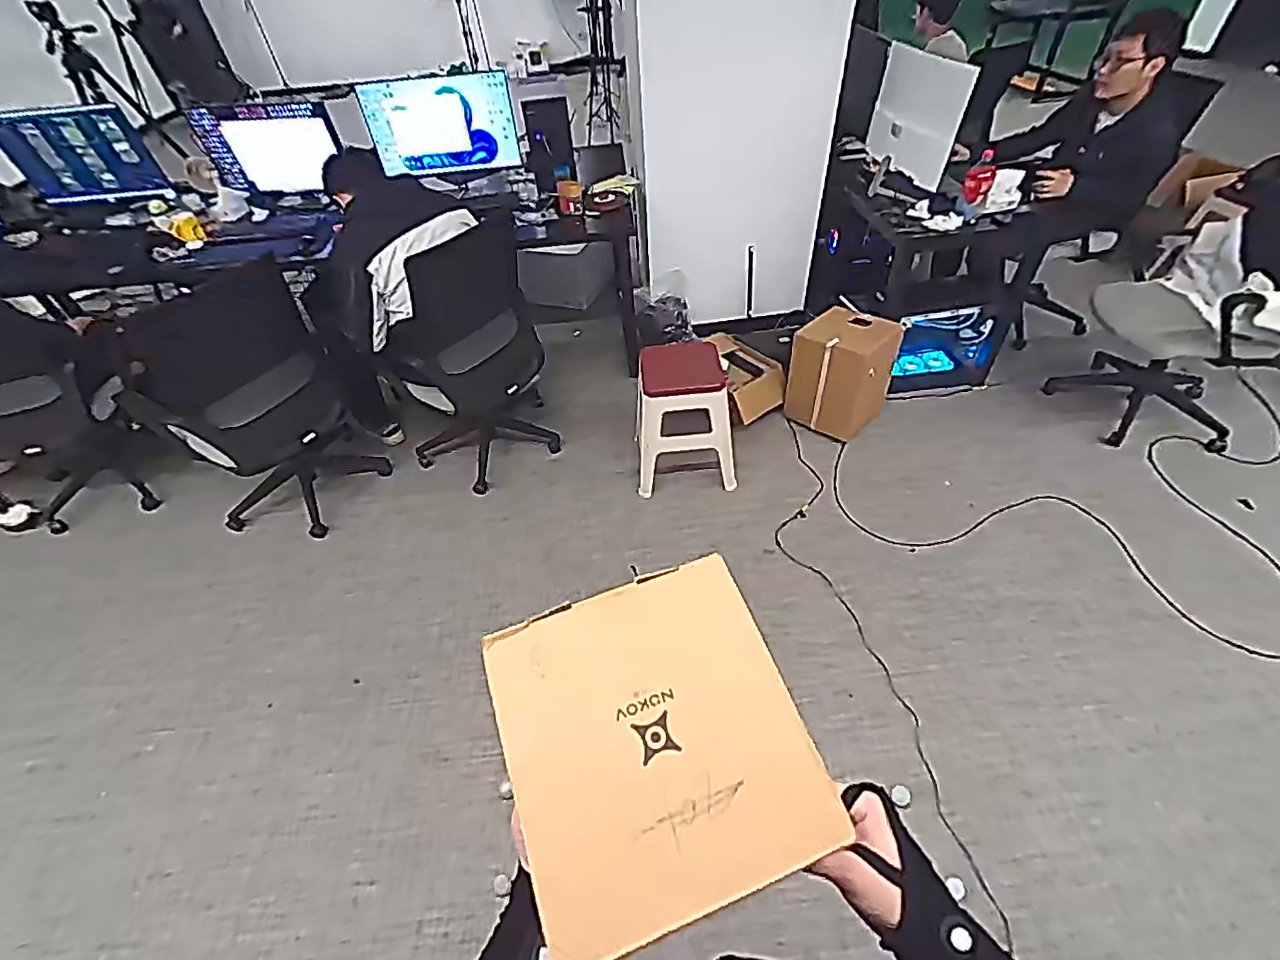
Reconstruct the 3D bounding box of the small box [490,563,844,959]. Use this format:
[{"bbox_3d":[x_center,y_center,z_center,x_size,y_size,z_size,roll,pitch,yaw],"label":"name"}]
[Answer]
[{"bbox_3d":[0.006,0.189,0.387,0.168,0.176,0.179,-17,61,-10],"label":"small box"}]
